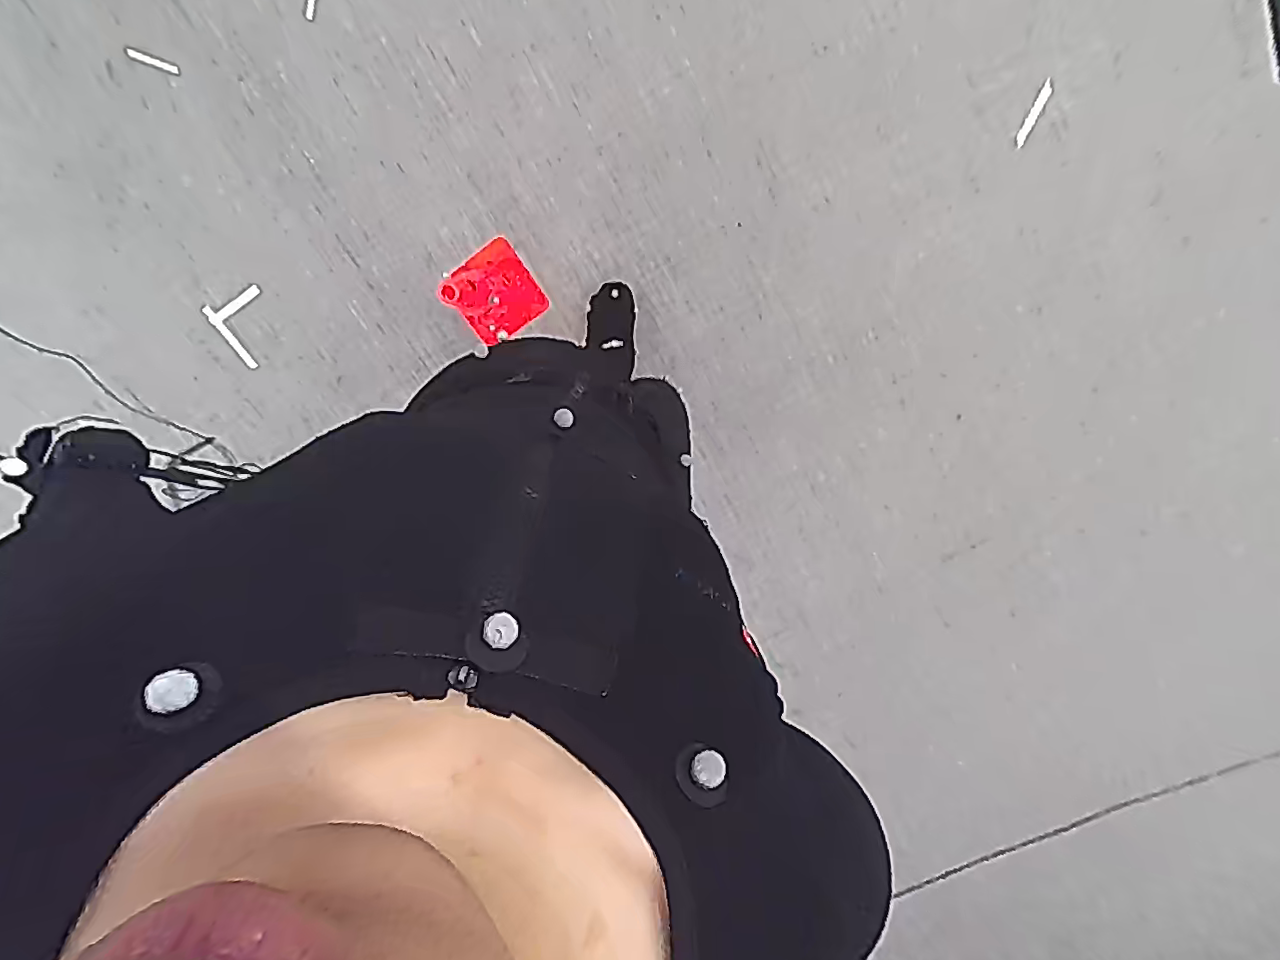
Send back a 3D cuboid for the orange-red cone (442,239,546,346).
[{"bbox_3d":[-0.349,-0.400,1.154,0.199,0.360,0.198,-32,106,9],"label":"orange-red cone"}]
